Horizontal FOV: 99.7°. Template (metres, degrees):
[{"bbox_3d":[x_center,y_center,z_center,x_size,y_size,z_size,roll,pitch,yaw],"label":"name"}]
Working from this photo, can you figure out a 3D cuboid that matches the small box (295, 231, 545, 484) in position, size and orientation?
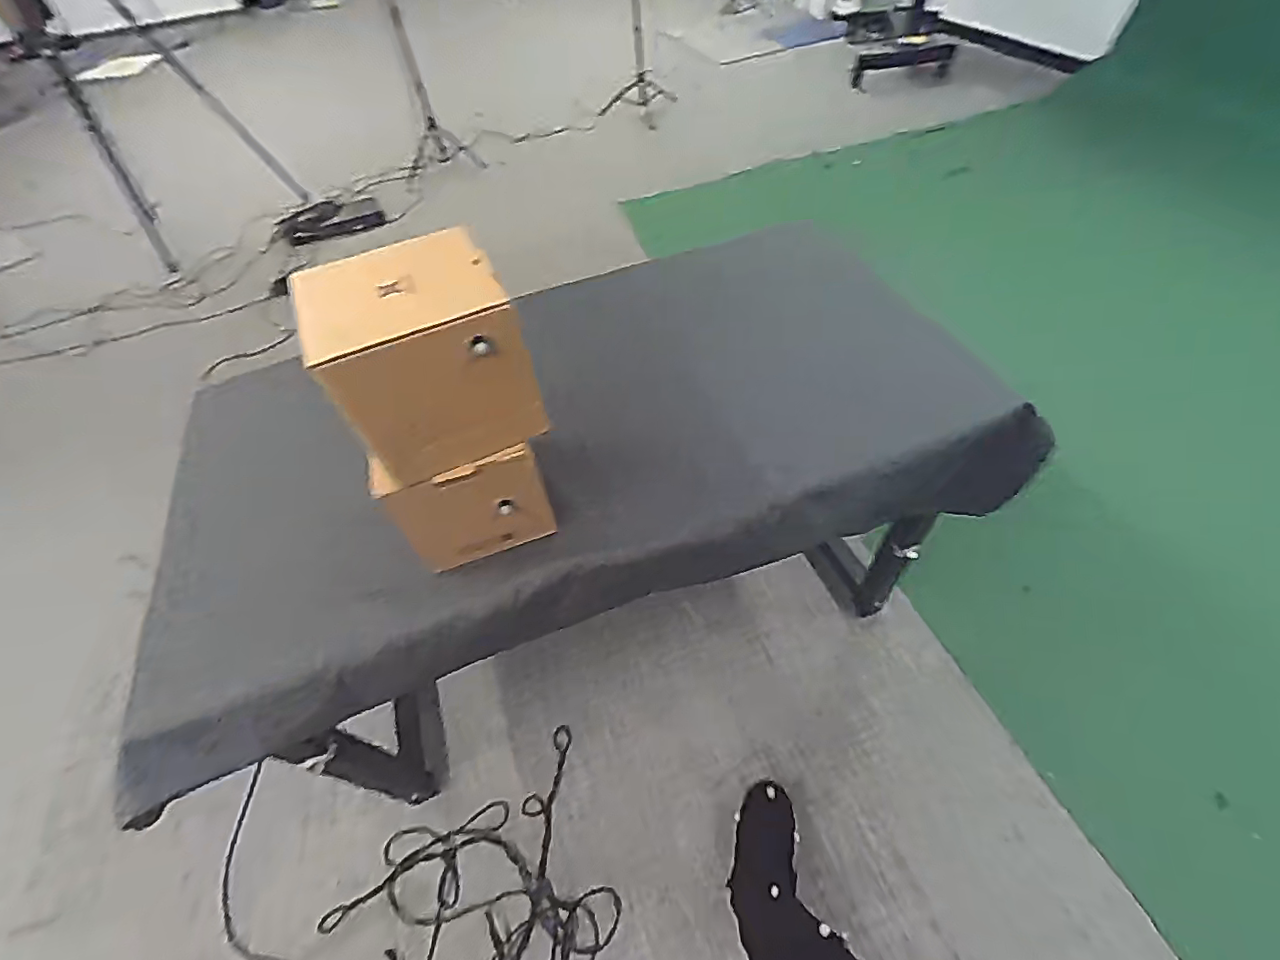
[{"bbox_3d":[-0.219,-0.124,0.563,0.179,0.176,0.168,-24,53,-14],"label":"small box"}]

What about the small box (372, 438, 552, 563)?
[{"bbox_3d":[-0.220,-0.016,0.685,0.168,0.176,0.179,-18,51,-10],"label":"small box"}]
